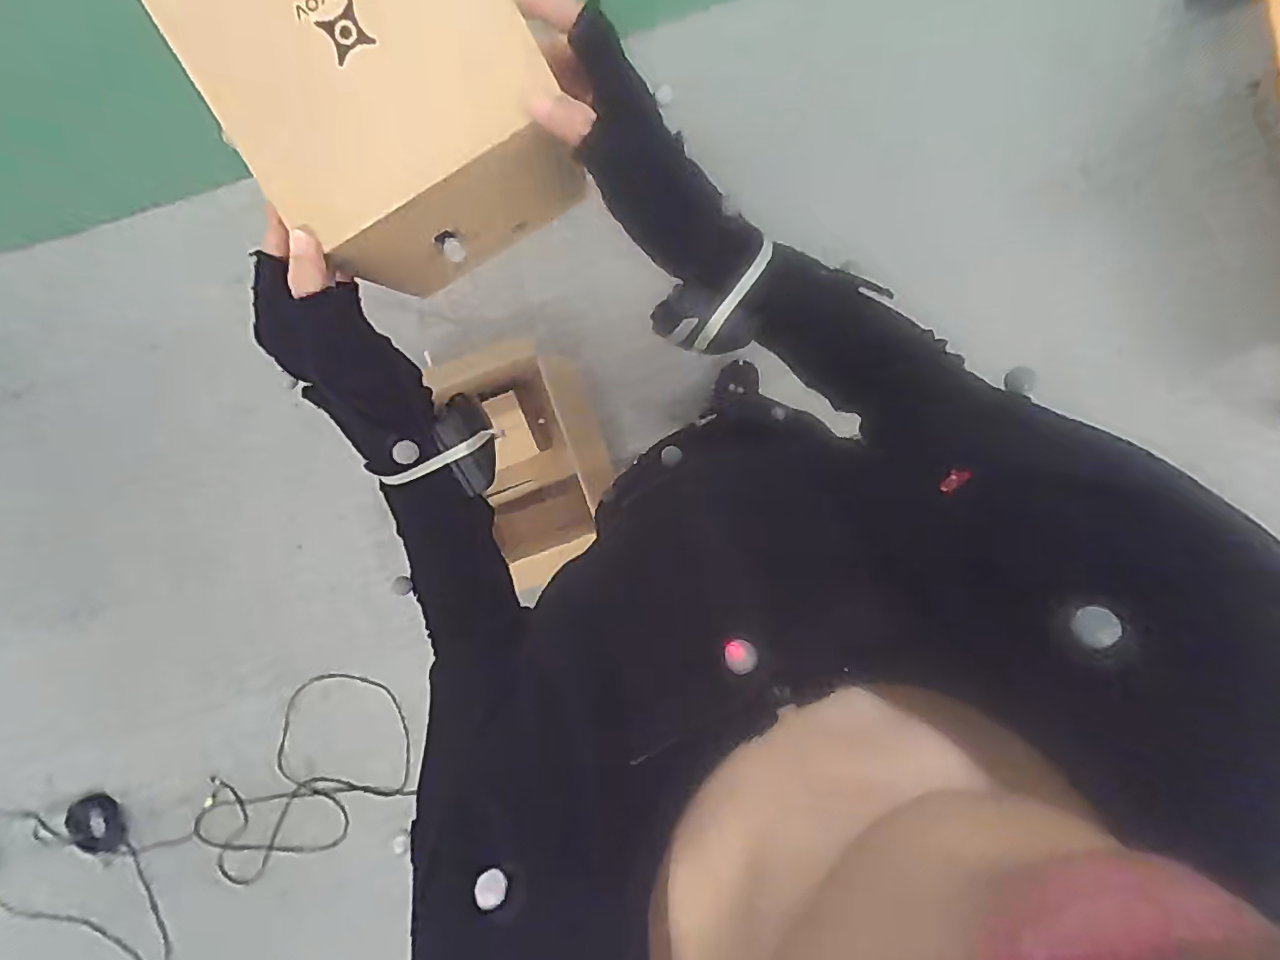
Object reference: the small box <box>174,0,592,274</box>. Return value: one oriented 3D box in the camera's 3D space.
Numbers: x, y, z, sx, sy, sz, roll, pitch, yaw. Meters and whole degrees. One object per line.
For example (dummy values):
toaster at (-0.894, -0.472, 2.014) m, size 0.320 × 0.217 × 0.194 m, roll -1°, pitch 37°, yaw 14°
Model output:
small box at (-0.143, -0.257, 0.362) m, size 0.168 × 0.176 × 0.179 m, roll -29°, pitch 102°, yaw 5°
